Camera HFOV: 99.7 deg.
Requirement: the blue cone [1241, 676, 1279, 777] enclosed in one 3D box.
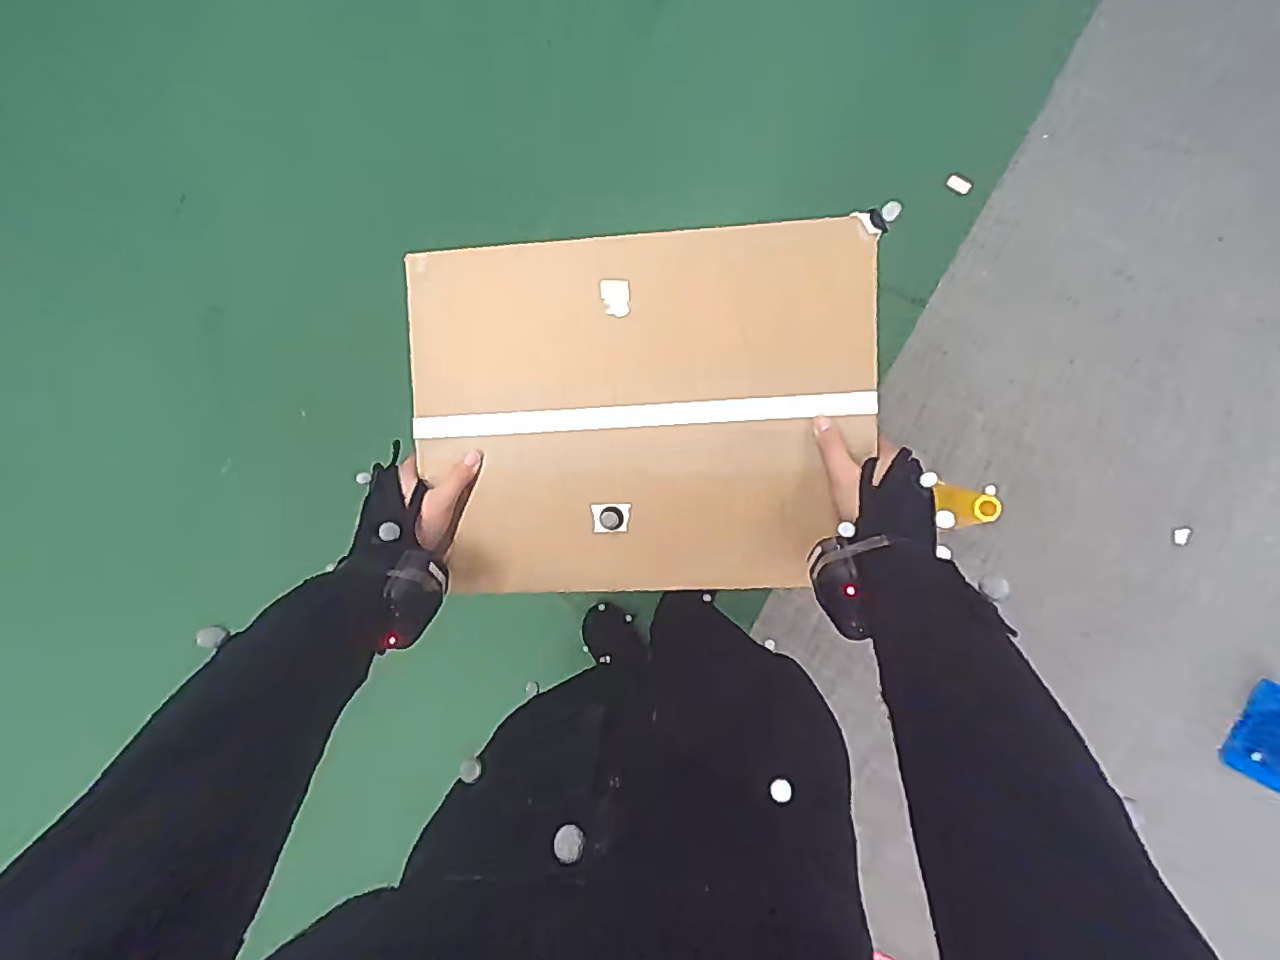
[{"bbox_3d":[1.299,0.496,0.907,0.193,0.380,0.192,29,89,5],"label":"blue cone"}]
